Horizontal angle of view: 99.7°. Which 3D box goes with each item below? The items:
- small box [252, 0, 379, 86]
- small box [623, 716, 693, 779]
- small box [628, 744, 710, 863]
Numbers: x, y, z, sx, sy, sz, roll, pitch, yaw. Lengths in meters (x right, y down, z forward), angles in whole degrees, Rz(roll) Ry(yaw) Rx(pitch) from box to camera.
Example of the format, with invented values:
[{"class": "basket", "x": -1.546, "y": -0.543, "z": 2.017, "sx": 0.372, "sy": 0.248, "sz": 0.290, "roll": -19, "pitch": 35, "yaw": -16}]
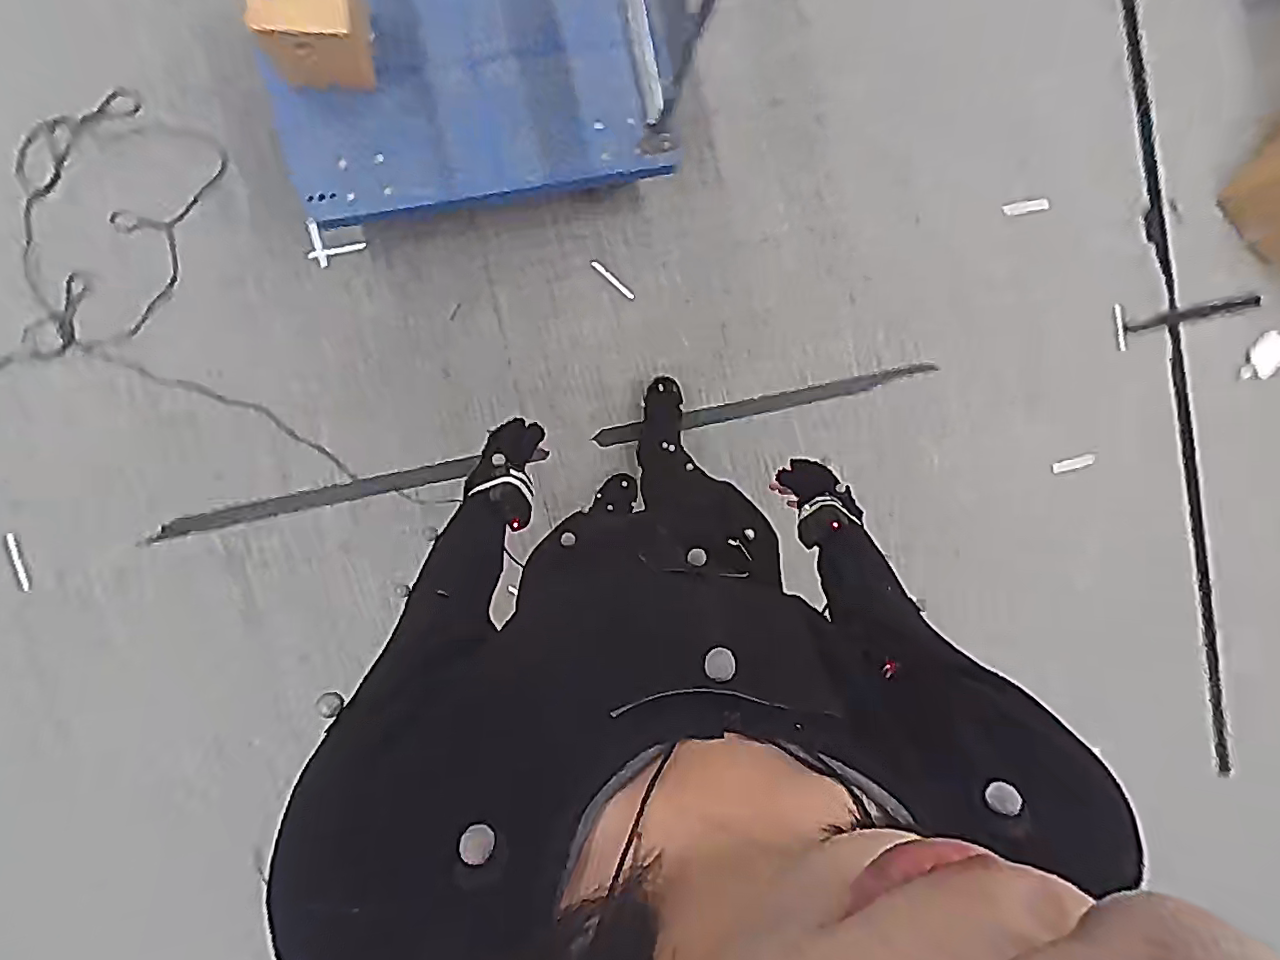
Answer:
[{"class": "small box", "x": -0.647, "y": -0.931, "z": 1.087, "sx": 0.179, "sy": 0.176, "sz": 0.168, "roll": -3, "pitch": 95, "yaw": -10}, {"class": "small box", "x": 0.055, "y": 0.798, "z": 1.515, "sx": 0.179, "sy": 0.176, "sz": 0.168, "roll": -16, "pitch": 97, "yaw": -8}, {"class": "small box", "x": 0.068, "y": 0.800, "z": 1.352, "sx": 0.168, "sy": 0.176, "sz": 0.179, "roll": -10, "pitch": 97, "yaw": -7}]
